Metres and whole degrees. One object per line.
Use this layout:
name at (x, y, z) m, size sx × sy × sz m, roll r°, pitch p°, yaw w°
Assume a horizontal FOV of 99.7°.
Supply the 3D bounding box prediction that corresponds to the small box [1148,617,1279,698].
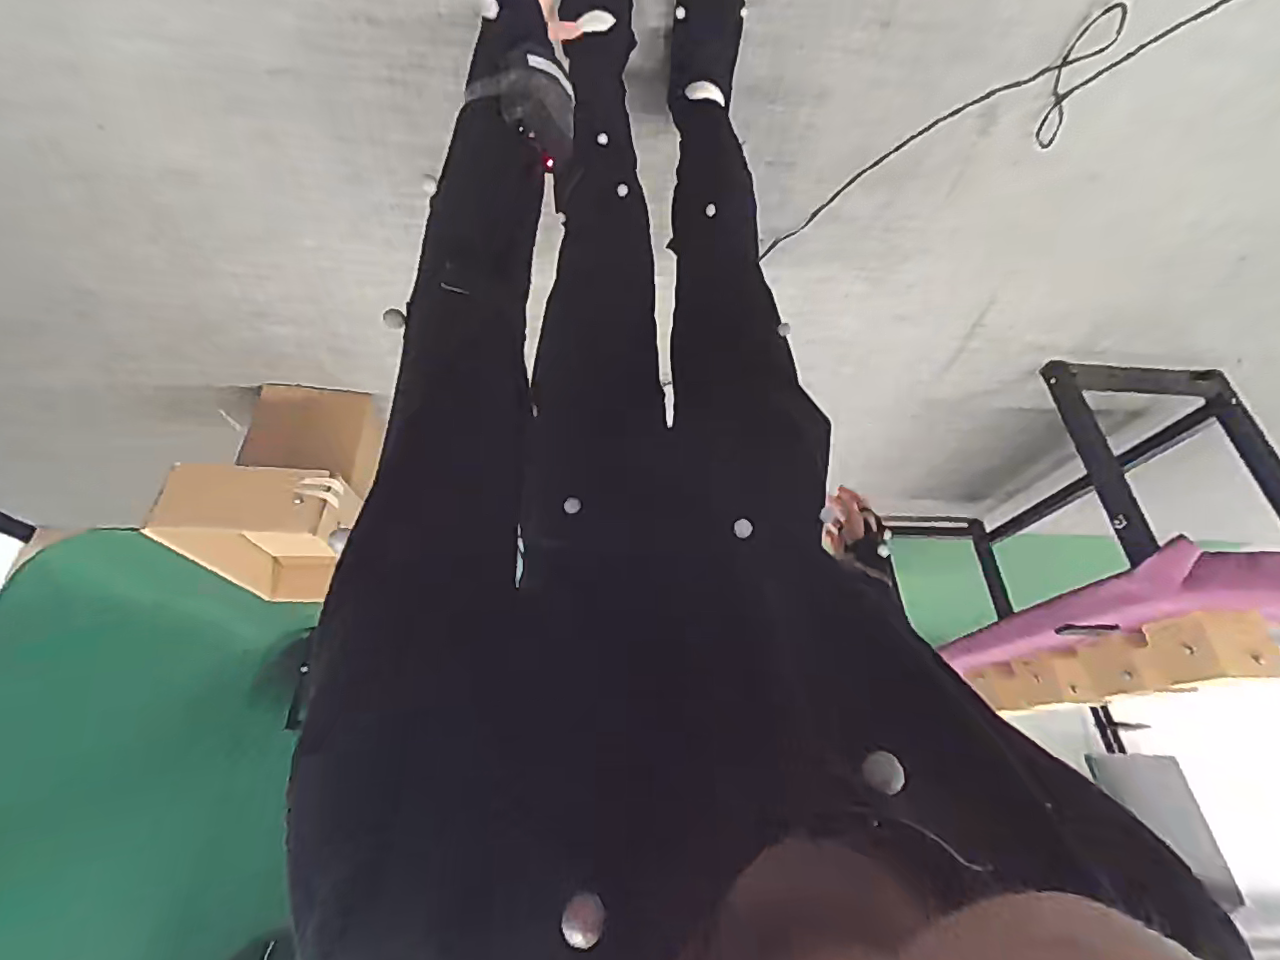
small box at (1.474, 0.452, 1.379) m, size 0.179 × 0.176 × 0.168 m, roll 1°, pitch 149°, yaw -3°

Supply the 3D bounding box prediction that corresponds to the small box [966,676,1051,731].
small box at (1.372, 0.839, 2.027) m, size 0.179 × 0.176 × 0.168 m, roll 6°, pitch 148°, yaw -10°

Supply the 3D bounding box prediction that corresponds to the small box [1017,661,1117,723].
small box at (1.413, 0.708, 1.805) m, size 0.179 × 0.176 × 0.168 m, roll 5°, pitch 149°, yaw -8°
